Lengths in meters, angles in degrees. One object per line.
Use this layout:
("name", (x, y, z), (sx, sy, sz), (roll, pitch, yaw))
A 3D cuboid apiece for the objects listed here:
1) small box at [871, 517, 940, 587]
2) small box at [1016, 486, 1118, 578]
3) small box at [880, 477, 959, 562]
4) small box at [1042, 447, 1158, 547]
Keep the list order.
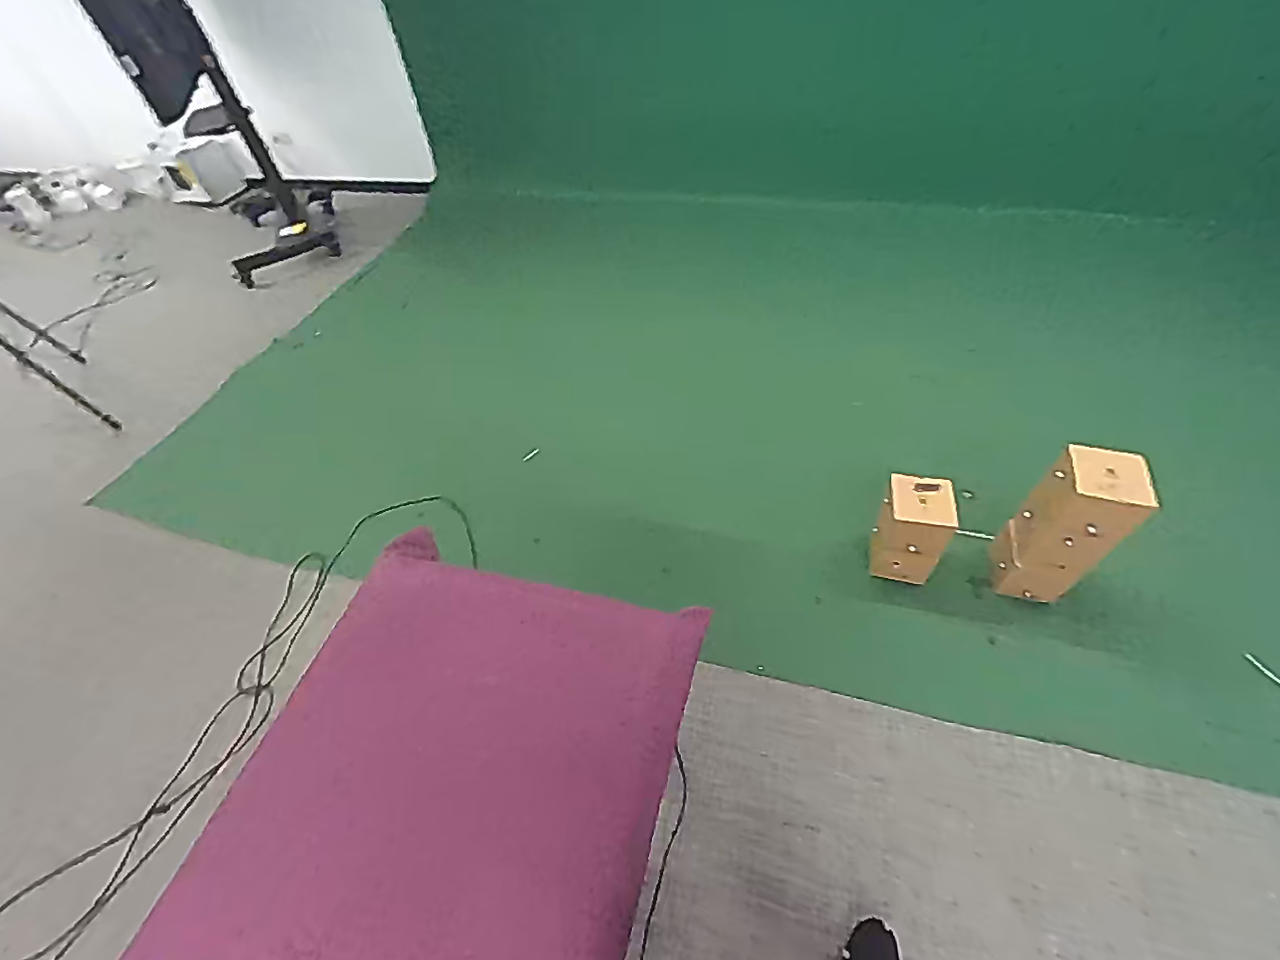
("small box", (0.846, 0.219, 1.733), (0.168, 0.176, 0.179), (10, 51, 15))
("small box", (1.199, 0.148, 1.535), (0.168, 0.176, 0.179), (12, 52, 16))
("small box", (0.821, 0.117, 1.606), (0.168, 0.176, 0.179), (7, 51, 13))
("small box", (1.182, 0.045, 1.407), (0.168, 0.176, 0.179), (13, 53, 16))
